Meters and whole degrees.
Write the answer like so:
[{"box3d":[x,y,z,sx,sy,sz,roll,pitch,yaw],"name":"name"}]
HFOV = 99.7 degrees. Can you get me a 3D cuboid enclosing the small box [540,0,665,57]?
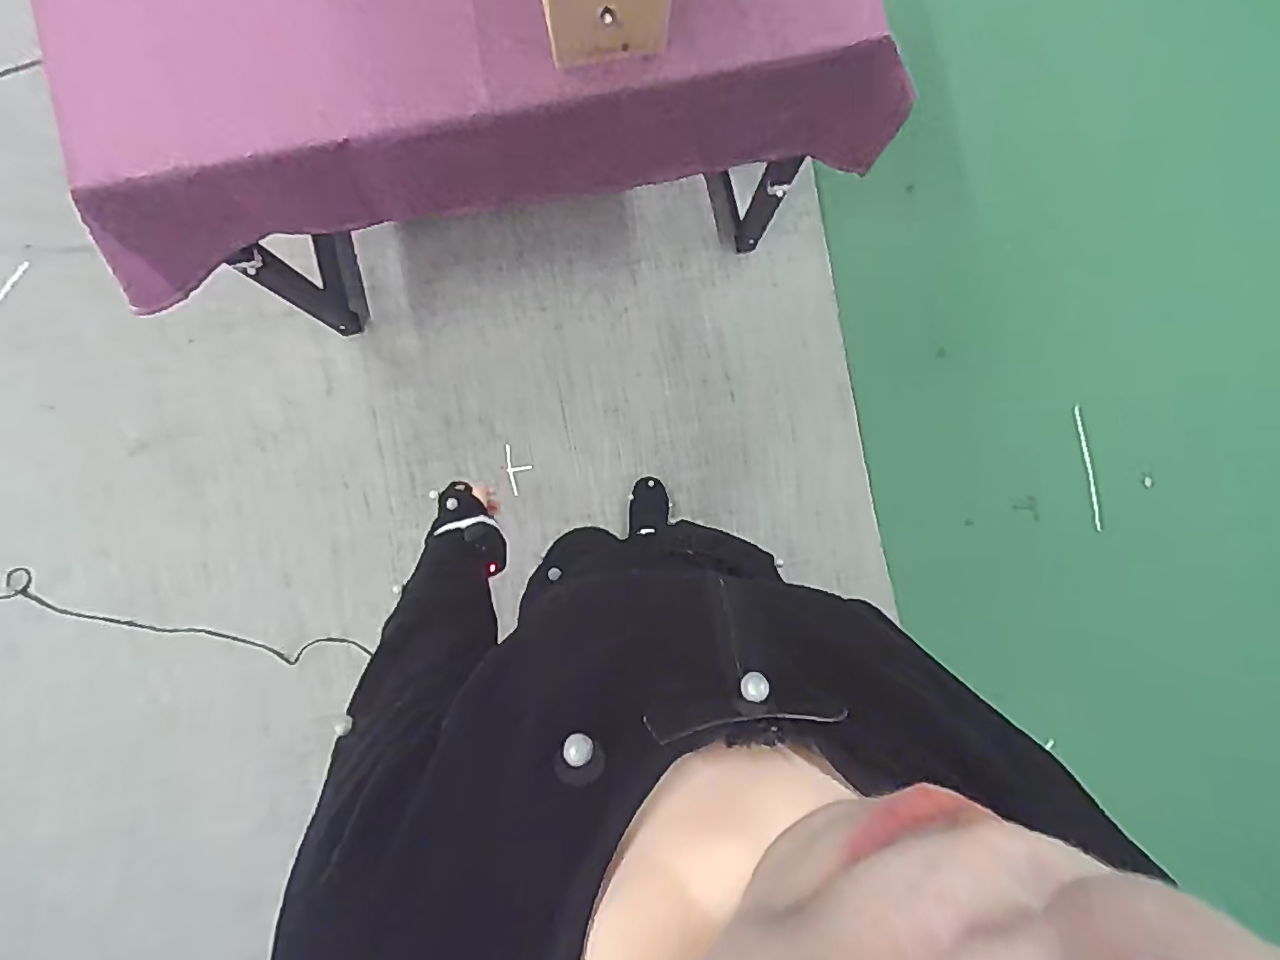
[{"box3d":[-0.058,-0.704,0.715,0.168,0.176,0.179,-12,88,-4],"name":"small box"}]
